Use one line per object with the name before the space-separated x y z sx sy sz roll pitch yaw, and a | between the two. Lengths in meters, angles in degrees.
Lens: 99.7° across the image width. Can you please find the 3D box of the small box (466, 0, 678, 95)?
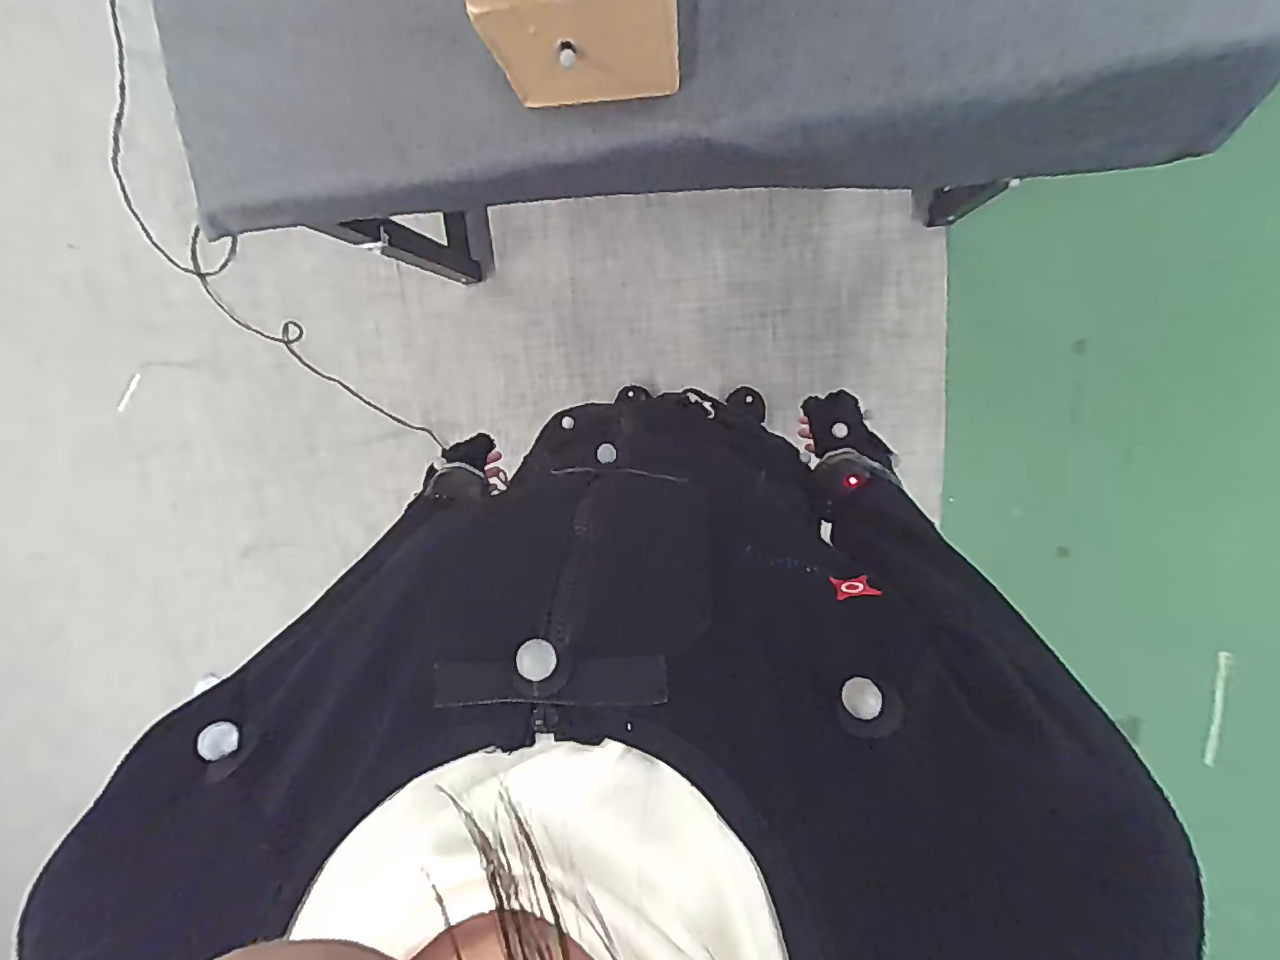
small box | -0.056 -0.498 0.513 0.179 0.176 0.168 0 100 7
